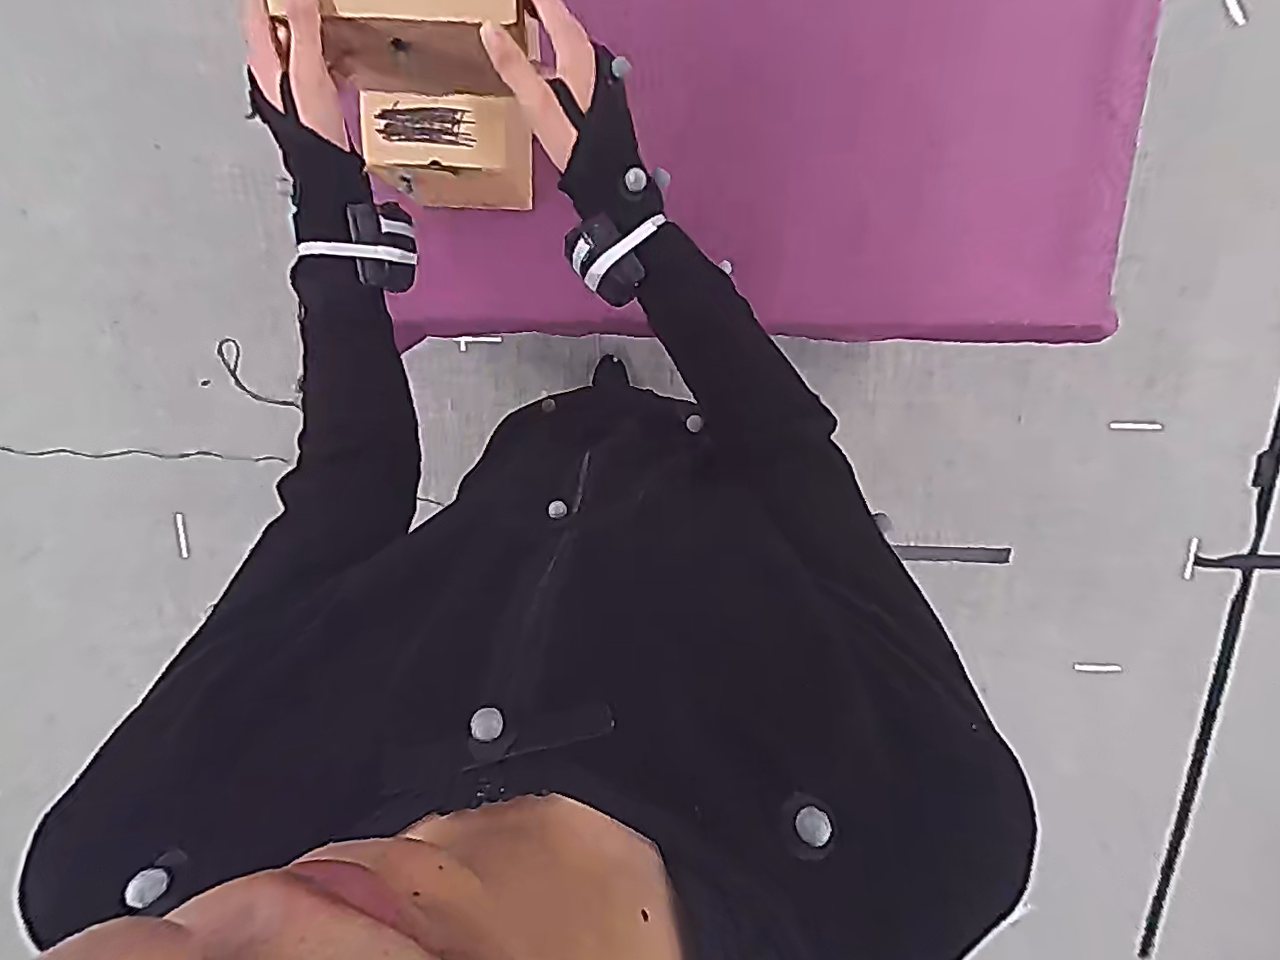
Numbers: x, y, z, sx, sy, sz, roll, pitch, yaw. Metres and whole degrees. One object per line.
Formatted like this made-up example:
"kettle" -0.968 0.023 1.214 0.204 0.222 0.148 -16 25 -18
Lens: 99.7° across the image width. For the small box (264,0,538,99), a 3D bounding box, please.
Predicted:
"small box" -0.183 -0.433 0.439 0.179 0.176 0.168 -1 110 -4
